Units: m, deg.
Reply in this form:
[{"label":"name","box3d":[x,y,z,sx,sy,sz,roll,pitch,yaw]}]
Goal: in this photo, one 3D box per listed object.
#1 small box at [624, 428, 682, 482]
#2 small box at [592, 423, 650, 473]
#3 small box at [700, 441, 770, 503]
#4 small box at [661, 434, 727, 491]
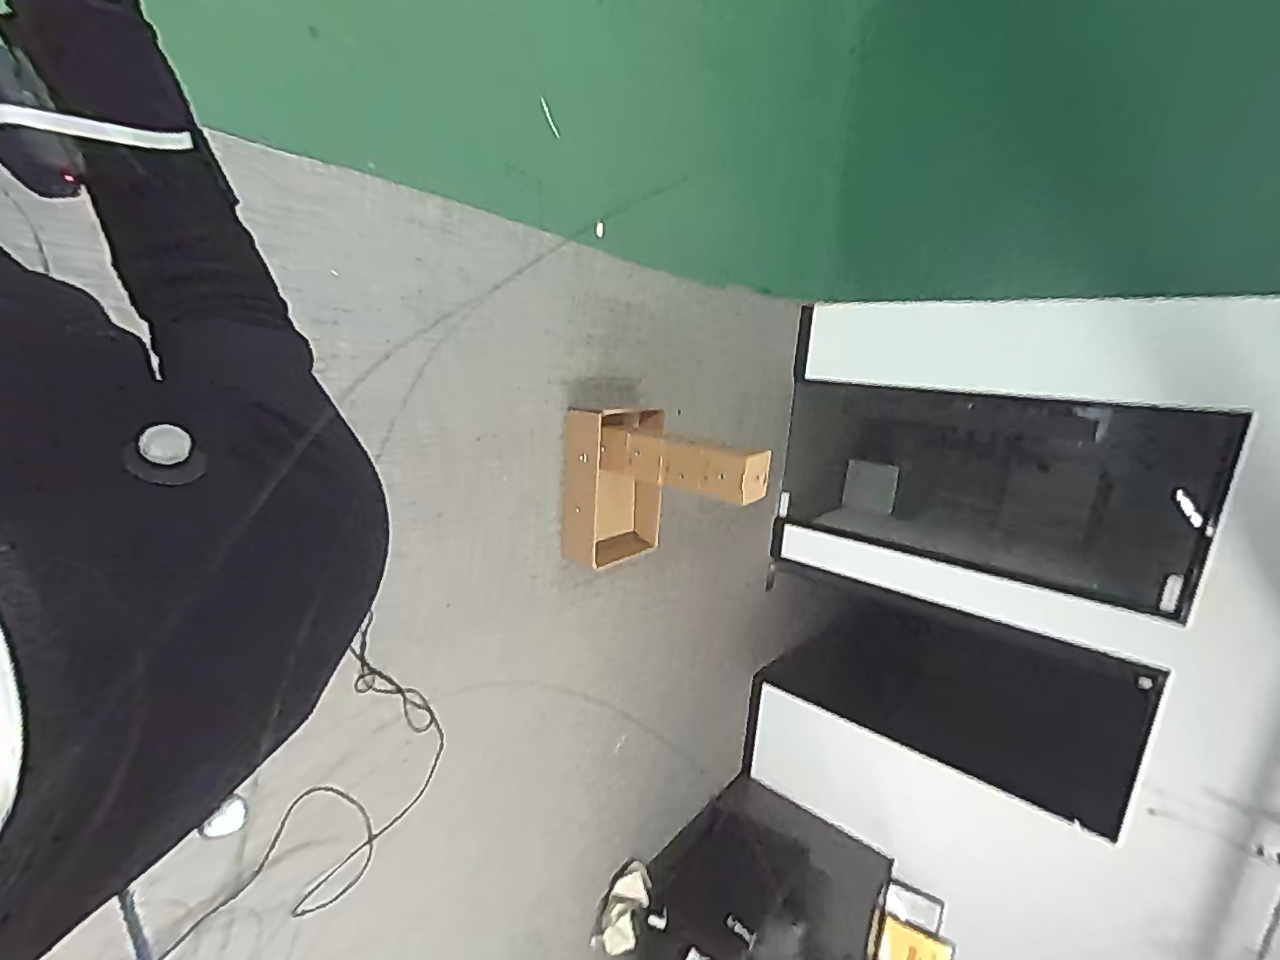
[{"label":"small box","box3d":[0.062,-0.099,2.039,0.179,0.176,0.168,-13,112,-50]},{"label":"small box","box3d":[-0.066,-0.133,2.135,0.179,0.176,0.168,-11,110,-51]},{"label":"small box","box3d":[0.322,-0.031,1.852,0.179,0.176,0.168,-14,115,-49]},{"label":"small box","box3d":[0.192,-0.067,1.946,0.179,0.176,0.168,-15,115,-50]}]
